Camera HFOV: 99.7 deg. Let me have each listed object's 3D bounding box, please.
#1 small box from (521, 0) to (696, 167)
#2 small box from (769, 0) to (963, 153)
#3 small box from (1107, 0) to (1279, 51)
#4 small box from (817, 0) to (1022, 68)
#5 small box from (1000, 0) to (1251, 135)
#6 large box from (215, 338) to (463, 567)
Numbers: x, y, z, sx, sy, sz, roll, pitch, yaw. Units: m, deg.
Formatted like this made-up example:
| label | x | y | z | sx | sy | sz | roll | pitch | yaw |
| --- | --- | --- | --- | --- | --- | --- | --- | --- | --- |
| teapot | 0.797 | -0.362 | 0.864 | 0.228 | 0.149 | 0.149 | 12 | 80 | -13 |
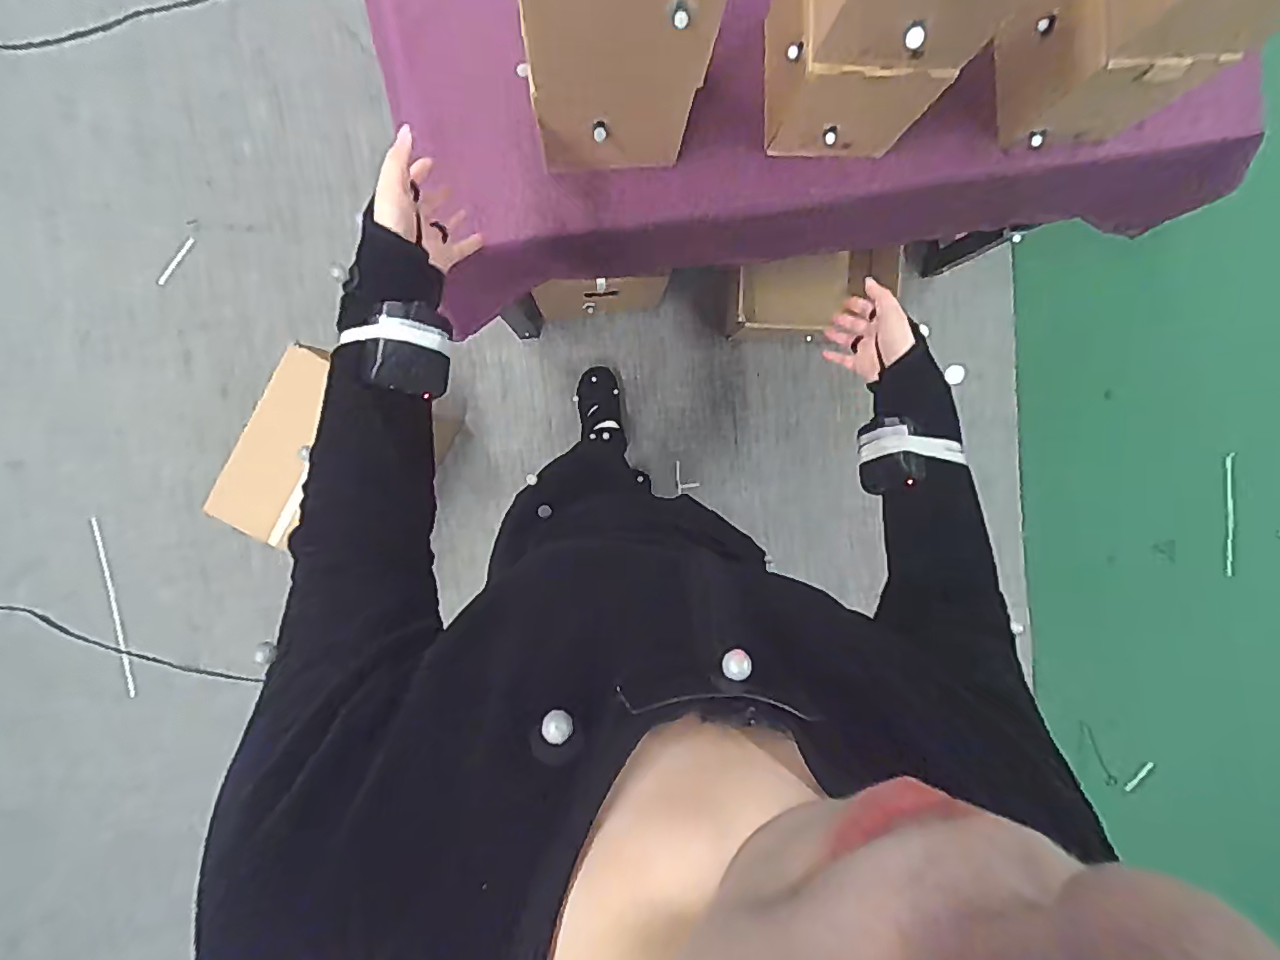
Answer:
| label | x | y | z | sx | sy | sz | roll | pitch | yaw |
| --- | --- | --- | --- | --- | --- | --- | --- | --- | --- |
| small box | -0.036 | -0.490 | 0.630 | 0.179 | 0.176 | 0.168 | -6 | 95 | -2 |
| small box | 0.259 | -0.528 | 0.648 | 0.168 | 0.176 | 0.179 | -1 | 96 | -3 |
| small box | 0.593 | -0.542 | 0.502 | 0.179 | 0.176 | 0.168 | -5 | 94 | -3 |
| small box | 0.270 | -0.521 | 0.484 | 0.168 | 0.176 | 0.179 | 0 | 95 | -3 |
| small box | 0.578 | -0.553 | 0.664 | 0.168 | 0.176 | 0.179 | -6 | 95 | -3 |
| large box | -0.683 | -0.062 | 1.290 | 0.320 | 0.320 | 0.408 | 29 | 92 | -6 |
